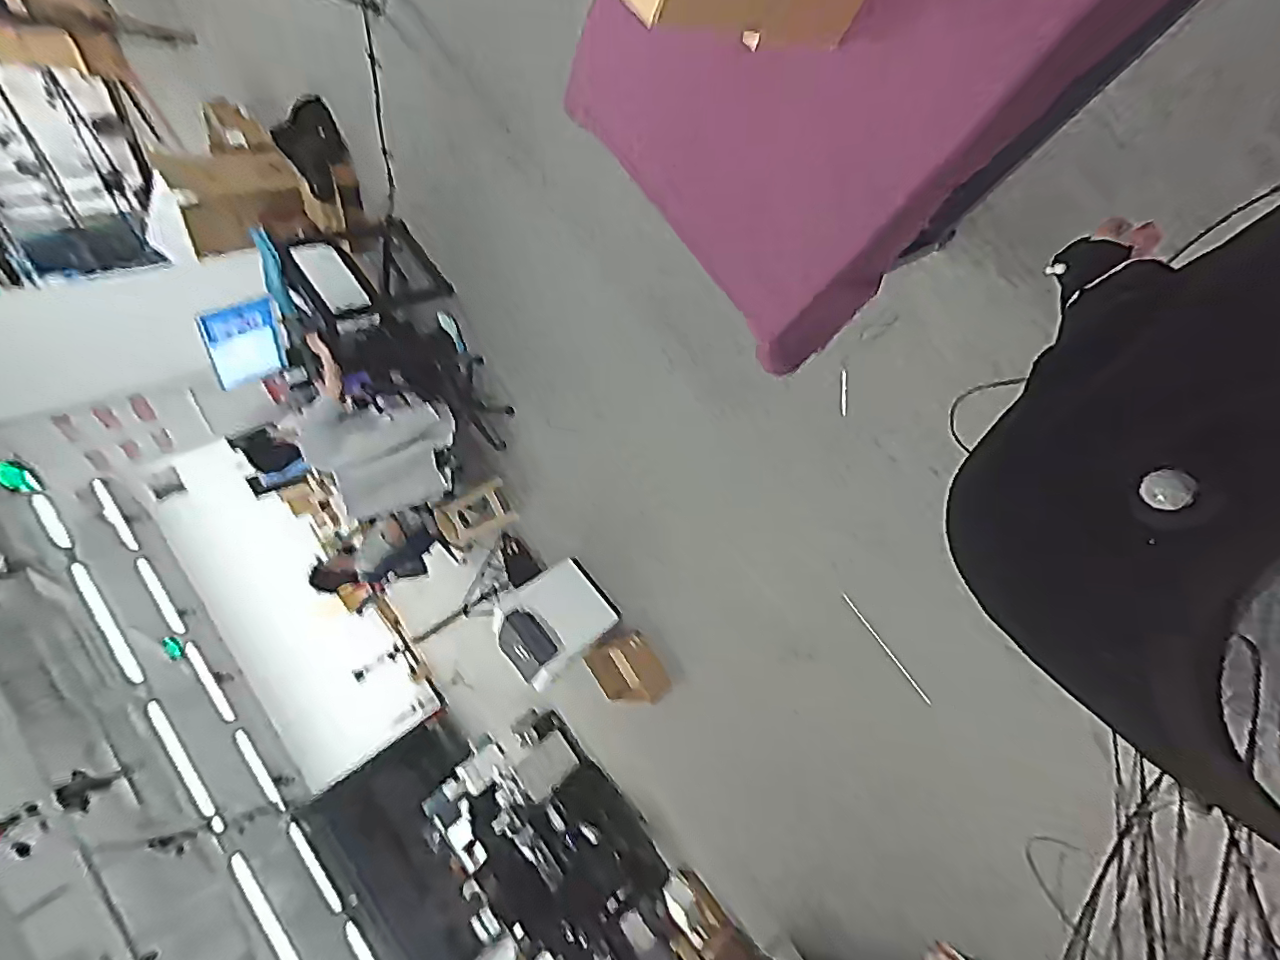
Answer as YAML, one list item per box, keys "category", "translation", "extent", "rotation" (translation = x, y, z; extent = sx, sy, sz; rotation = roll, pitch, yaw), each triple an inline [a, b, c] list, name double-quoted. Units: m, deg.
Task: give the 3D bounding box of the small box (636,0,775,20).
- category: "small box"
  translation: [0.050, -0.541, 0.468]
  extent: [0.179, 0.176, 0.168]
  rotation: [53, 145, 9]

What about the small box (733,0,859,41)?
- category: "small box"
  translation: [0.166, -0.605, 0.568]
  extent: [0.168, 0.176, 0.179]
  rotation: [53, 144, 9]
